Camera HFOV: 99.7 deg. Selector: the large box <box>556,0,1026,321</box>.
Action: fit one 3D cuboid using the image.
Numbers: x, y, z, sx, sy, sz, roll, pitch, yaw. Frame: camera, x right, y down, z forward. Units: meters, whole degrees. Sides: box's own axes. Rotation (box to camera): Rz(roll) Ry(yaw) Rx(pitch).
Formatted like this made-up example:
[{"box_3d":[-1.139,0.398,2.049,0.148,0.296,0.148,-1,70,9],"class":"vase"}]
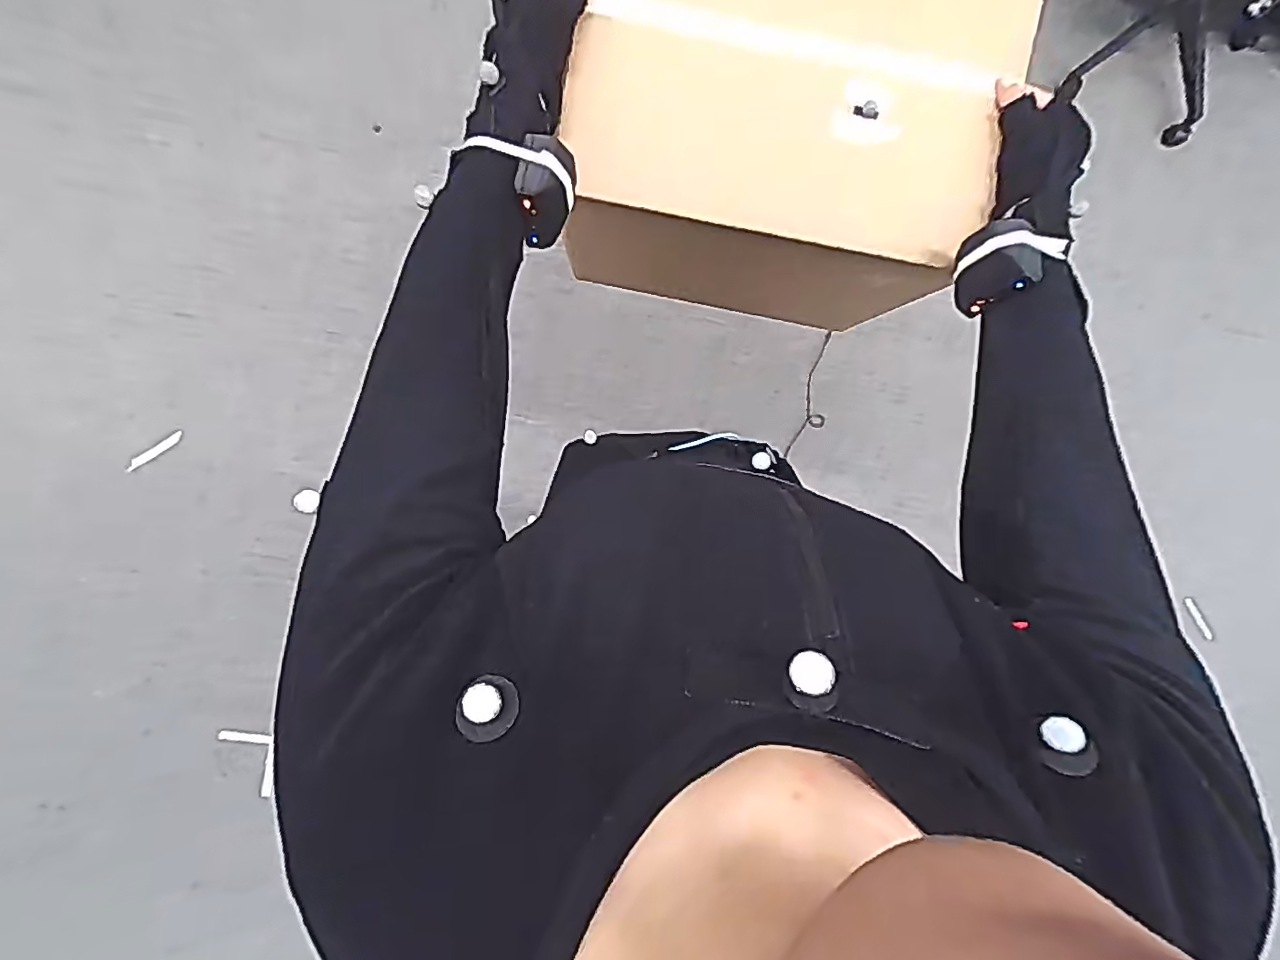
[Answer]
[{"box_3d":[0.132,-0.399,0.633,0.408,0.320,0.320,10,96,-4],"class":"large box"}]
